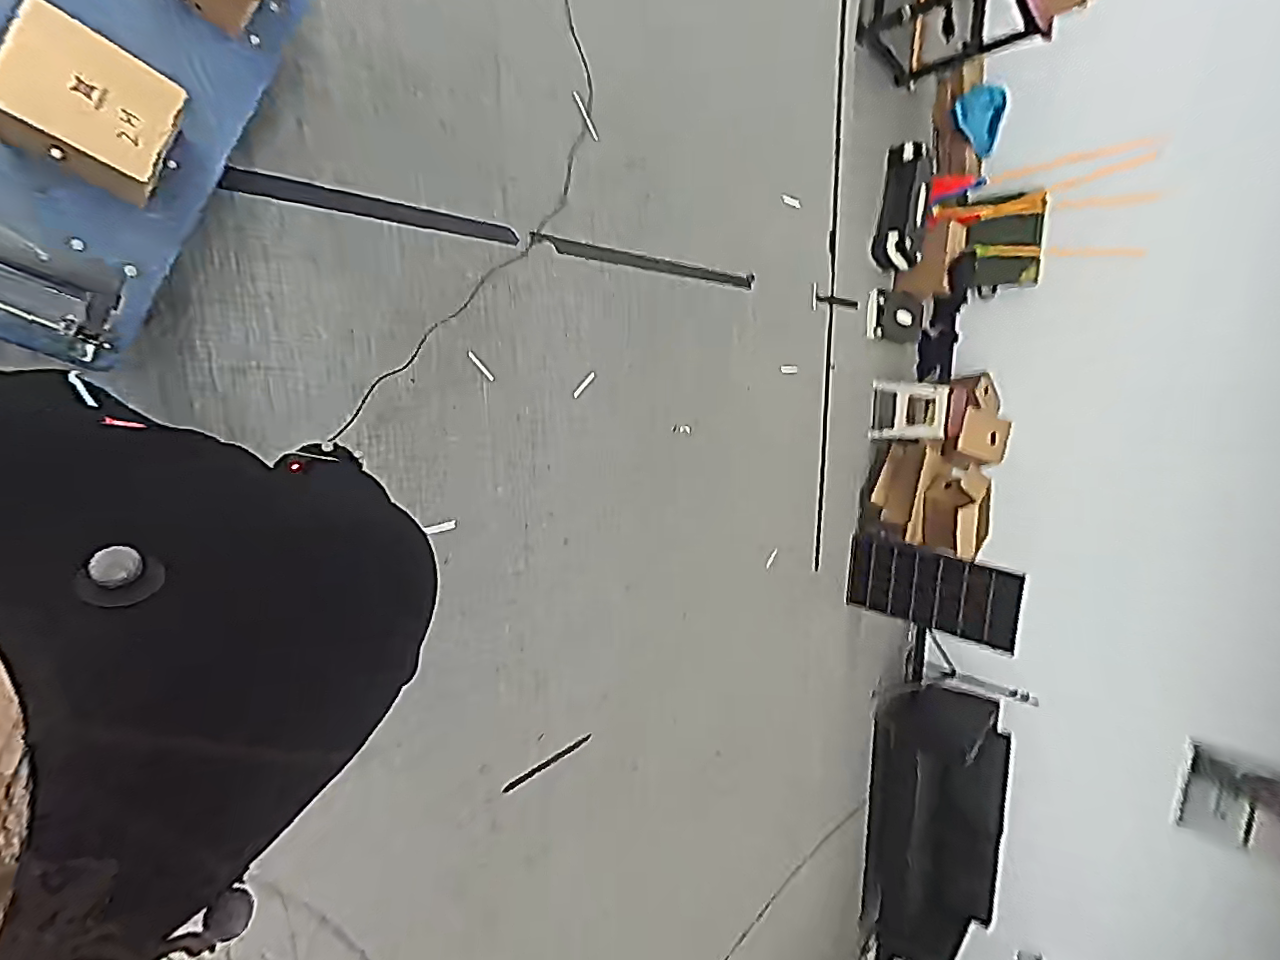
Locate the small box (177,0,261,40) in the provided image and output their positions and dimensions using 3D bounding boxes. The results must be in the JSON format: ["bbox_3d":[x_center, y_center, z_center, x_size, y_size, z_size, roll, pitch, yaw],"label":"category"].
[{"bbox_3d":[-0.715,-0.899,0.897,0.168,0.176,0.179,29,78,-44],"label":"small box"}]

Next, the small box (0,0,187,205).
[{"bbox_3d":[-0.844,-0.558,0.832,0.179,0.176,0.168,24,81,-45],"label":"small box"}]
